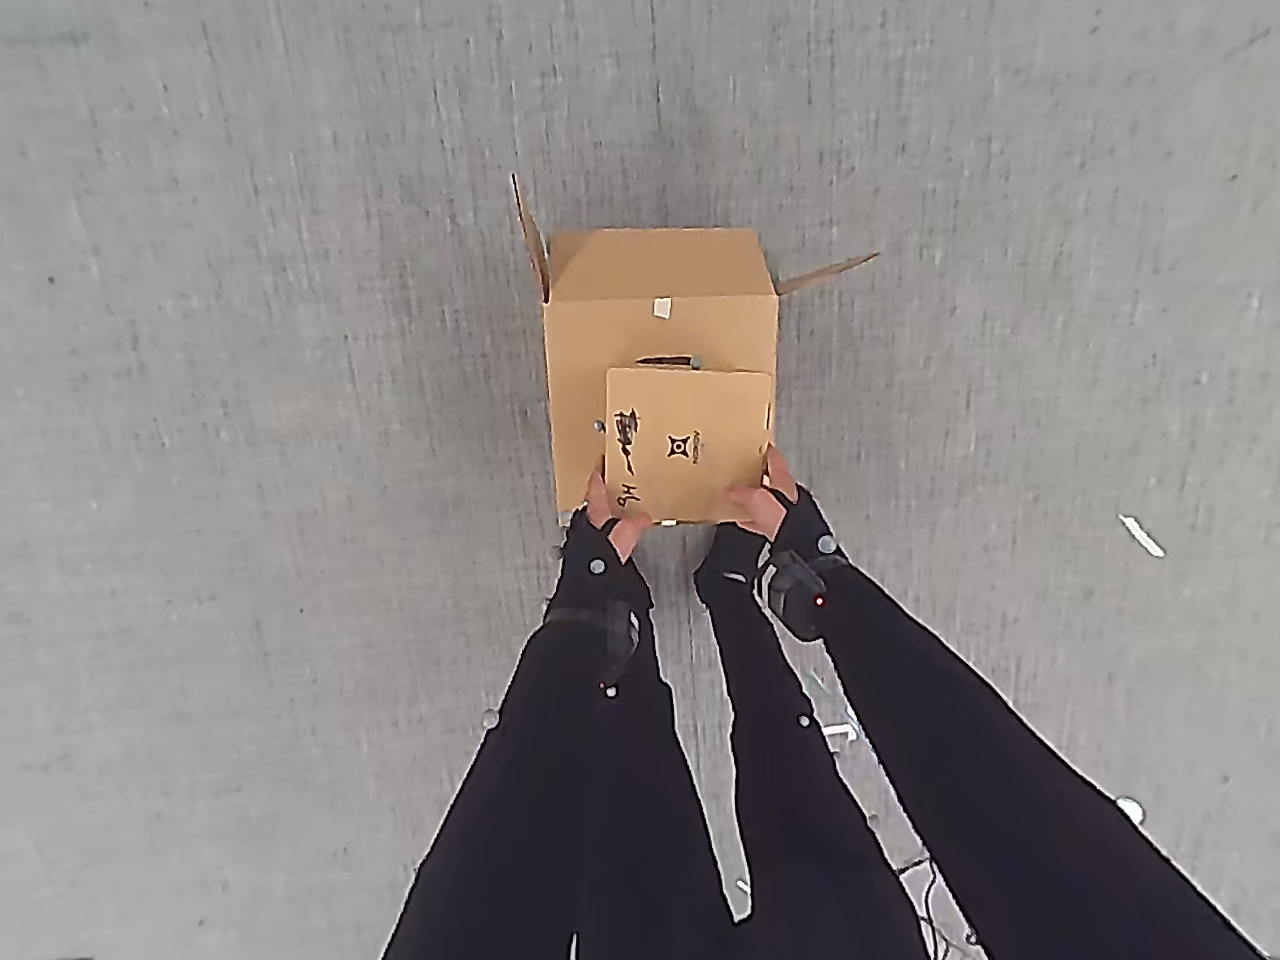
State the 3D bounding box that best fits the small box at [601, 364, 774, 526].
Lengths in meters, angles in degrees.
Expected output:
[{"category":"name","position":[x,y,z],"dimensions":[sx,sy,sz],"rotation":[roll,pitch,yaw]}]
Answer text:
[{"category":"small box","position":[0.043,-0.050,0.649],"dimensions":[0.179,0.176,0.168],"rotation":[2,104,-4]}]
